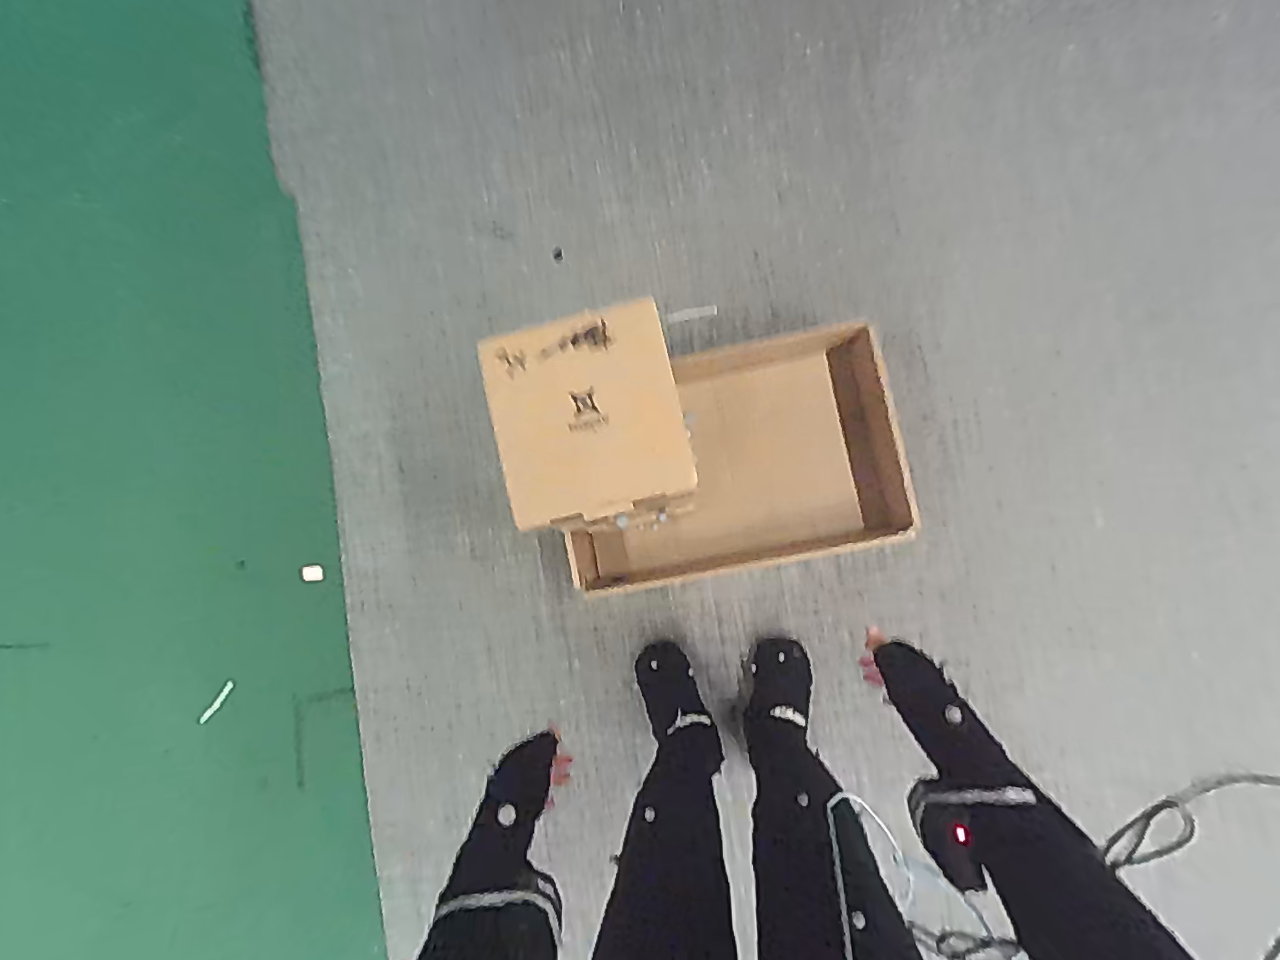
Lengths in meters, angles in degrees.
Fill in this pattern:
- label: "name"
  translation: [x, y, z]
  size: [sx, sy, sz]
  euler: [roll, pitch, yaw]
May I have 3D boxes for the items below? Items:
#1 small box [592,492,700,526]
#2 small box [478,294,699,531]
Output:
- label: "small box"
  translation: [-0.002, -0.026, 0.864]
  size: [0.168, 0.176, 0.179]
  euler: [-11, 86, 5]
- label: "small box"
  translation: [-0.038, -0.055, 0.540]
  size: [0.168, 0.176, 0.179]
  euler: [-13, 86, 4]
